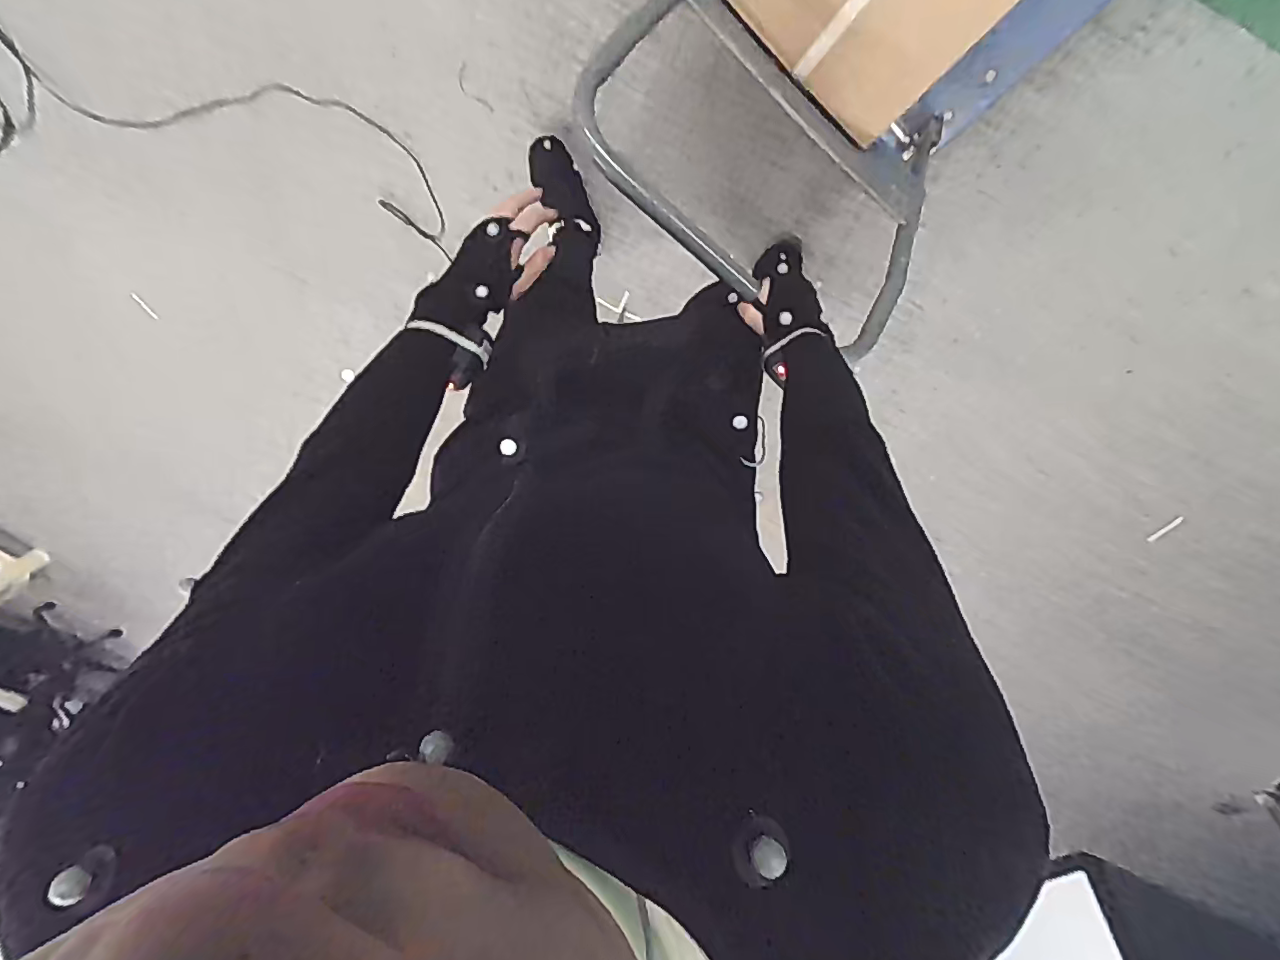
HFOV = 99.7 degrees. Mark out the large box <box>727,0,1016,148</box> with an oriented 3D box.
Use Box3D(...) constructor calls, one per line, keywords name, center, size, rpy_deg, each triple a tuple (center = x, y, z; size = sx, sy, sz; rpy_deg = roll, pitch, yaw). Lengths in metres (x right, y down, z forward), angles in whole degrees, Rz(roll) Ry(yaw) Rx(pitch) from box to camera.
Box3D(name="large box", center=(0.392, -0.792, 0.760), size=(0.320, 0.320, 0.408), rpy_deg=(36, 142, -16))
